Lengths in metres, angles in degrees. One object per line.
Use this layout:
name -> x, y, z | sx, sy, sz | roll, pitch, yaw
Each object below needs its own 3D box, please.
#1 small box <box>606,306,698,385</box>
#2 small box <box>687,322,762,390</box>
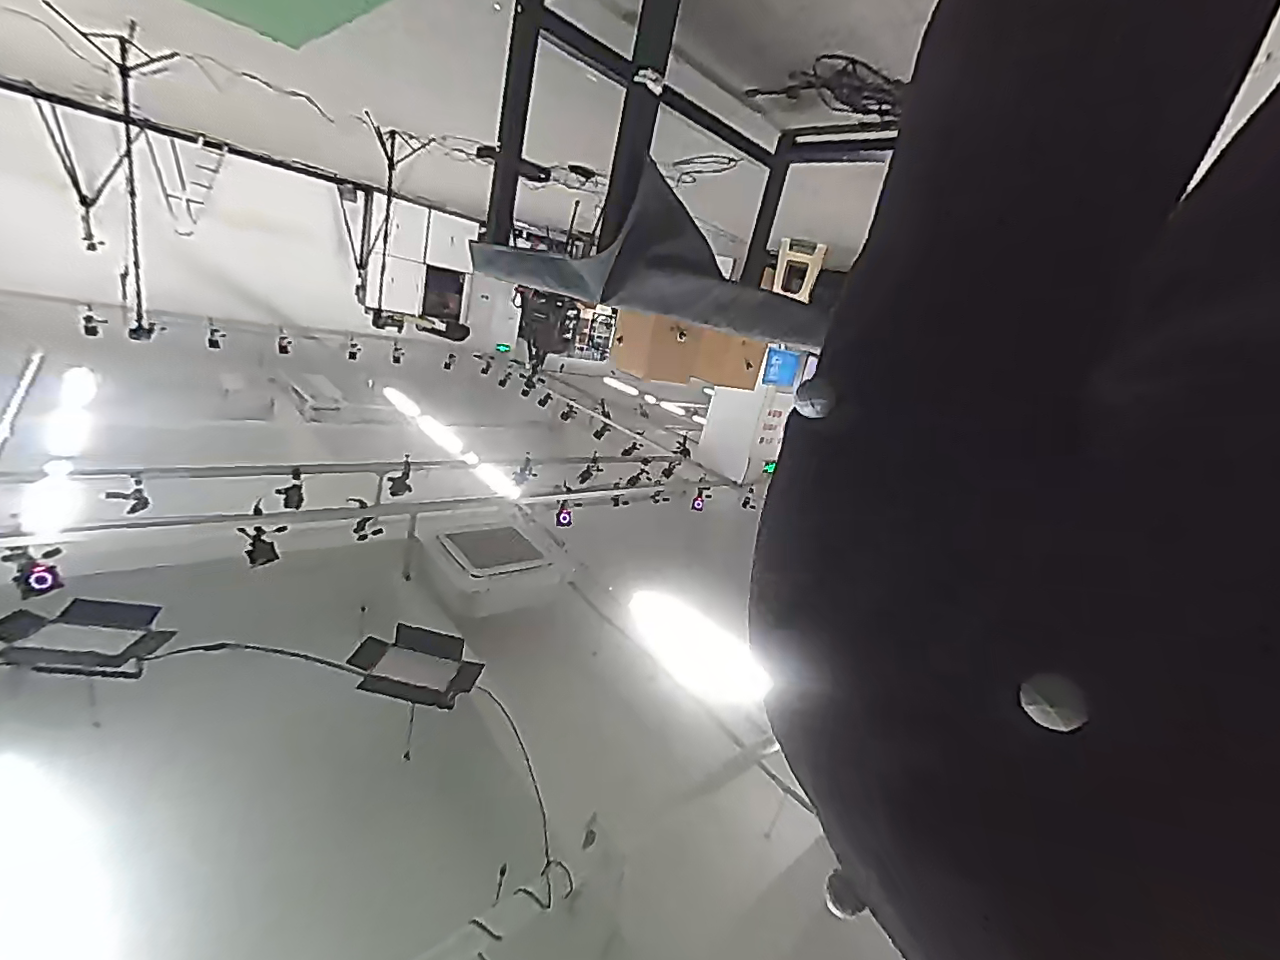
small box -> 0.034, -0.366, 1.455 | 0.168, 0.176, 0.179 | -2, -157, -36
small box -> 0.261, -0.390, 1.687 | 0.168, 0.176, 0.179 | -2, -156, -38
